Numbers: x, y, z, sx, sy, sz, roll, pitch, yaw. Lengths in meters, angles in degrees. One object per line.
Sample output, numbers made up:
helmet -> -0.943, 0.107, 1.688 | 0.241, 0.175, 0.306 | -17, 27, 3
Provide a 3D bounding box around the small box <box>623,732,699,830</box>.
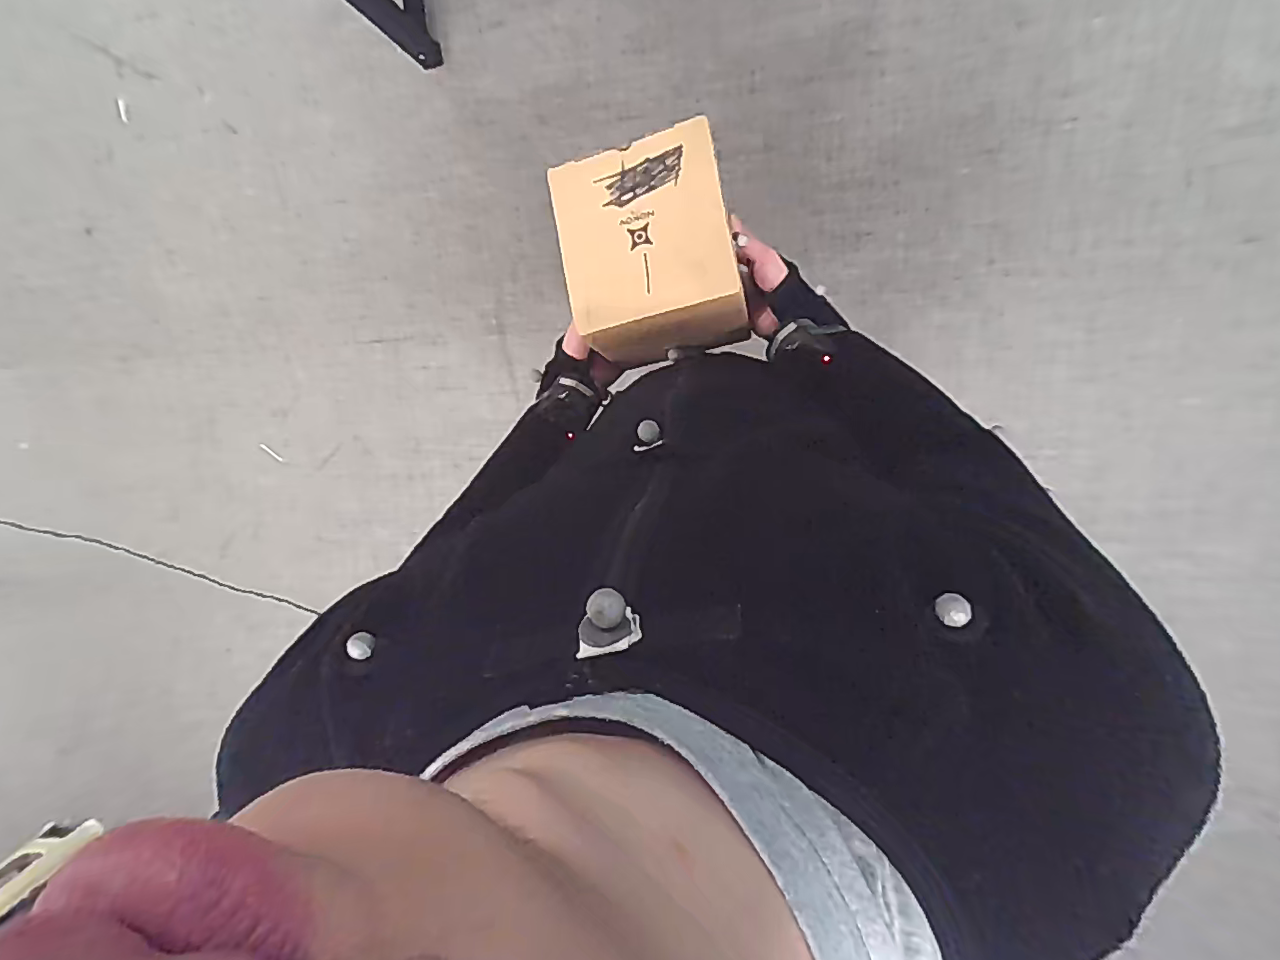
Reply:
small box -> 0.073, 0.940, 1.704 | 0.168, 0.176, 0.179 | 41, 107, 1
